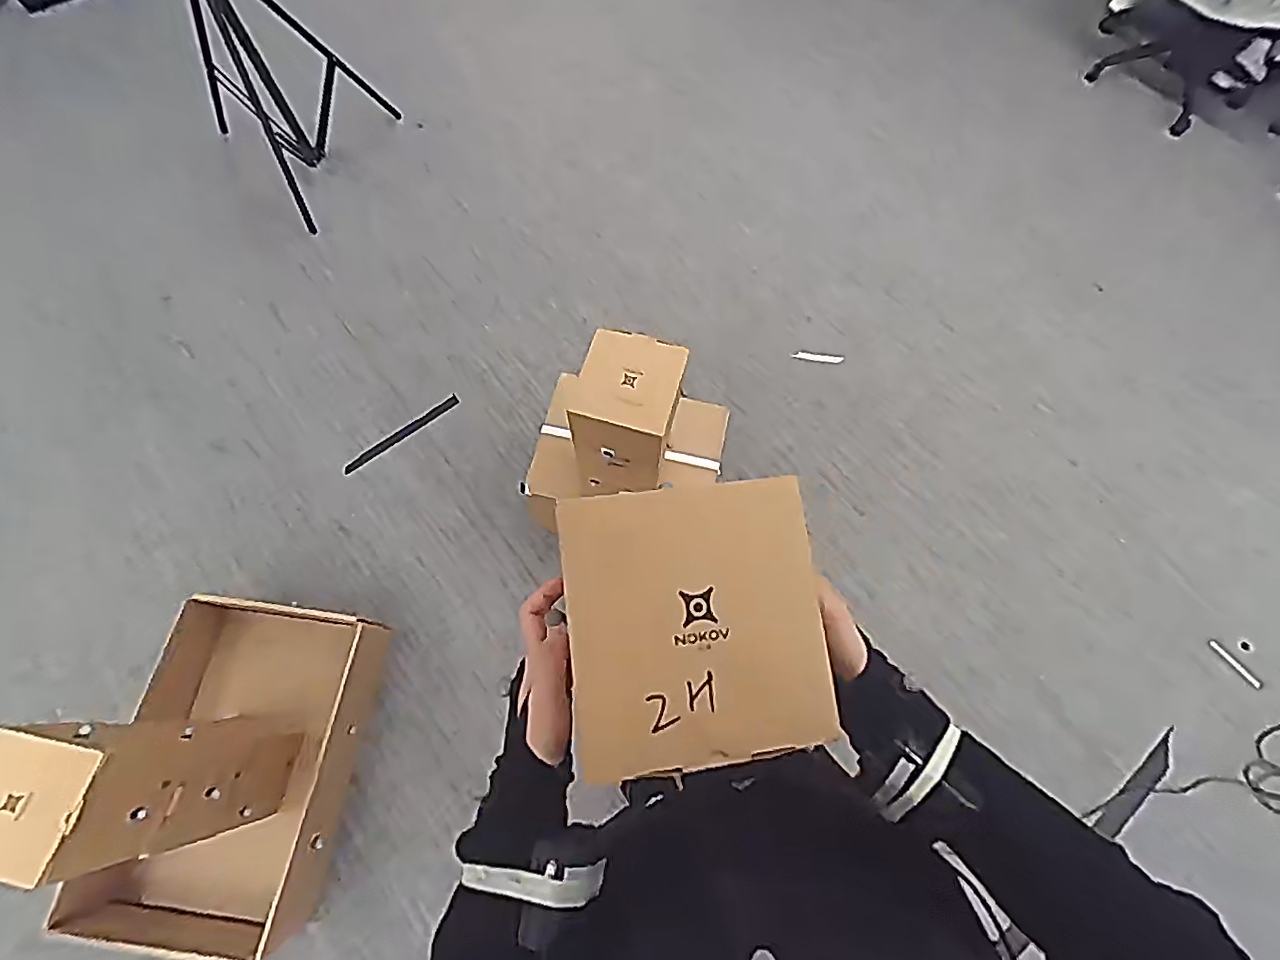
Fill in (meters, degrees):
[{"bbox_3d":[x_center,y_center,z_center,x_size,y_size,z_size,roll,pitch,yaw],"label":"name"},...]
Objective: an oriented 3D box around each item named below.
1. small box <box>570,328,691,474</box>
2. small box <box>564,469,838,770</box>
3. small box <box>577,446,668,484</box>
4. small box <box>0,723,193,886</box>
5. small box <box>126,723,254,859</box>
[{"bbox_3d":[-0.017,-0.135,0.968,0.168,0.176,0.179,15,70,4],"label":"small box"},{"bbox_3d":[0.028,0.098,0.426,0.168,0.176,0.179,-5,80,-8],"label":"small box"},{"bbox_3d":[-0.025,-0.082,1.121,0.168,0.176,0.179,13,68,2],"label":"small box"},{"bbox_3d":[-0.843,0.469,0.808,0.179,0.176,0.168,11,68,2],"label":"small box"},{"bbox_3d":[-0.841,0.536,0.957,0.179,0.176,0.168,12,68,2],"label":"small box"}]
